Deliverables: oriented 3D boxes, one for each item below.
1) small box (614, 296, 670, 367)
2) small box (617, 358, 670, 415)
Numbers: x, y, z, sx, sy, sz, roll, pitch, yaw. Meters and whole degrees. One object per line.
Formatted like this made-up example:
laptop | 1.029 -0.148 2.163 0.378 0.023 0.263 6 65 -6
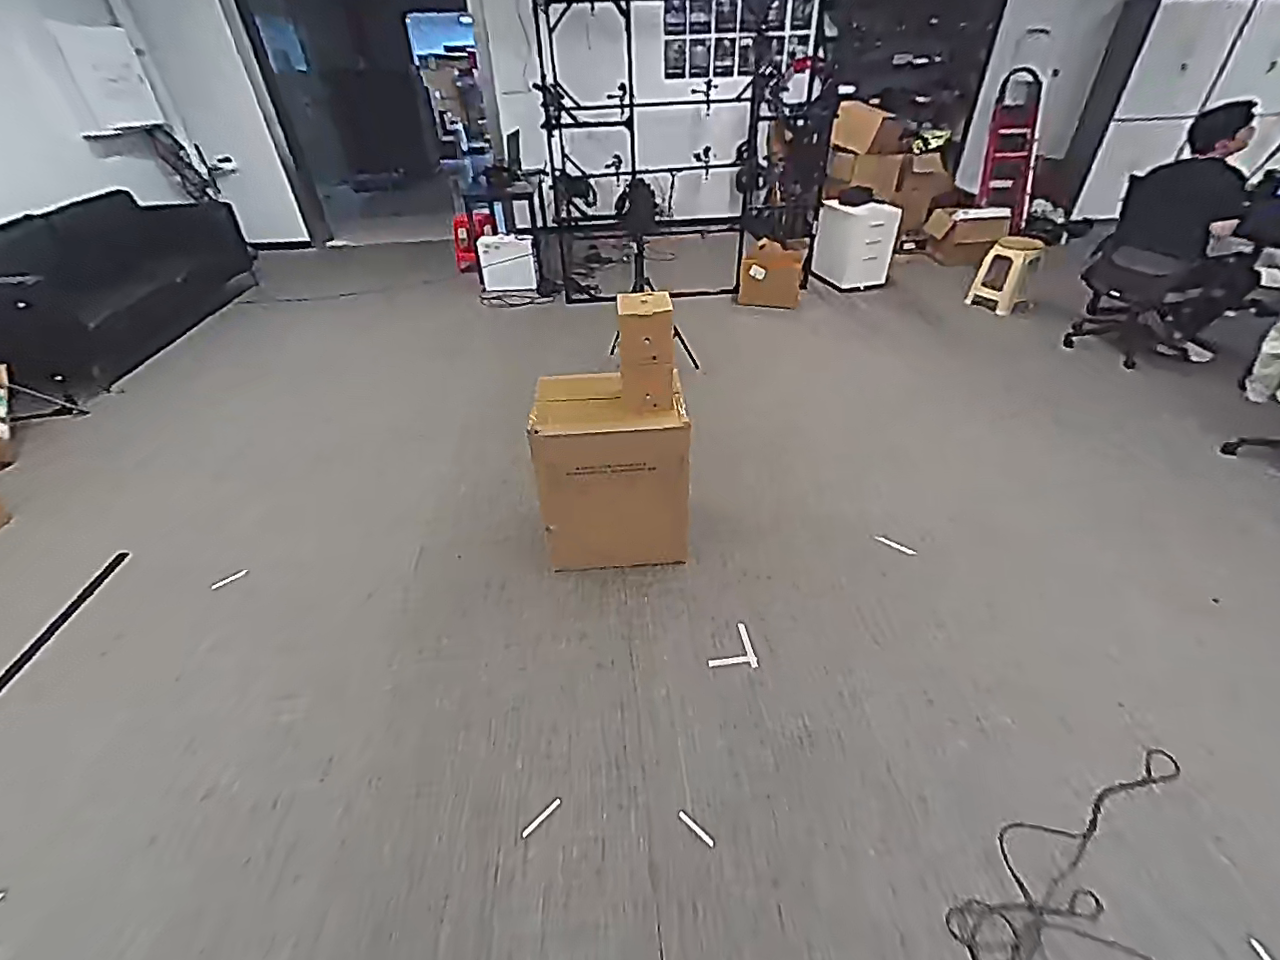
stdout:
small box | 0.006 -0.468 1.717 0.168 0.176 0.179 -4 38 -1
small box | 0.009 -0.335 1.813 0.168 0.176 0.179 -5 38 -2
